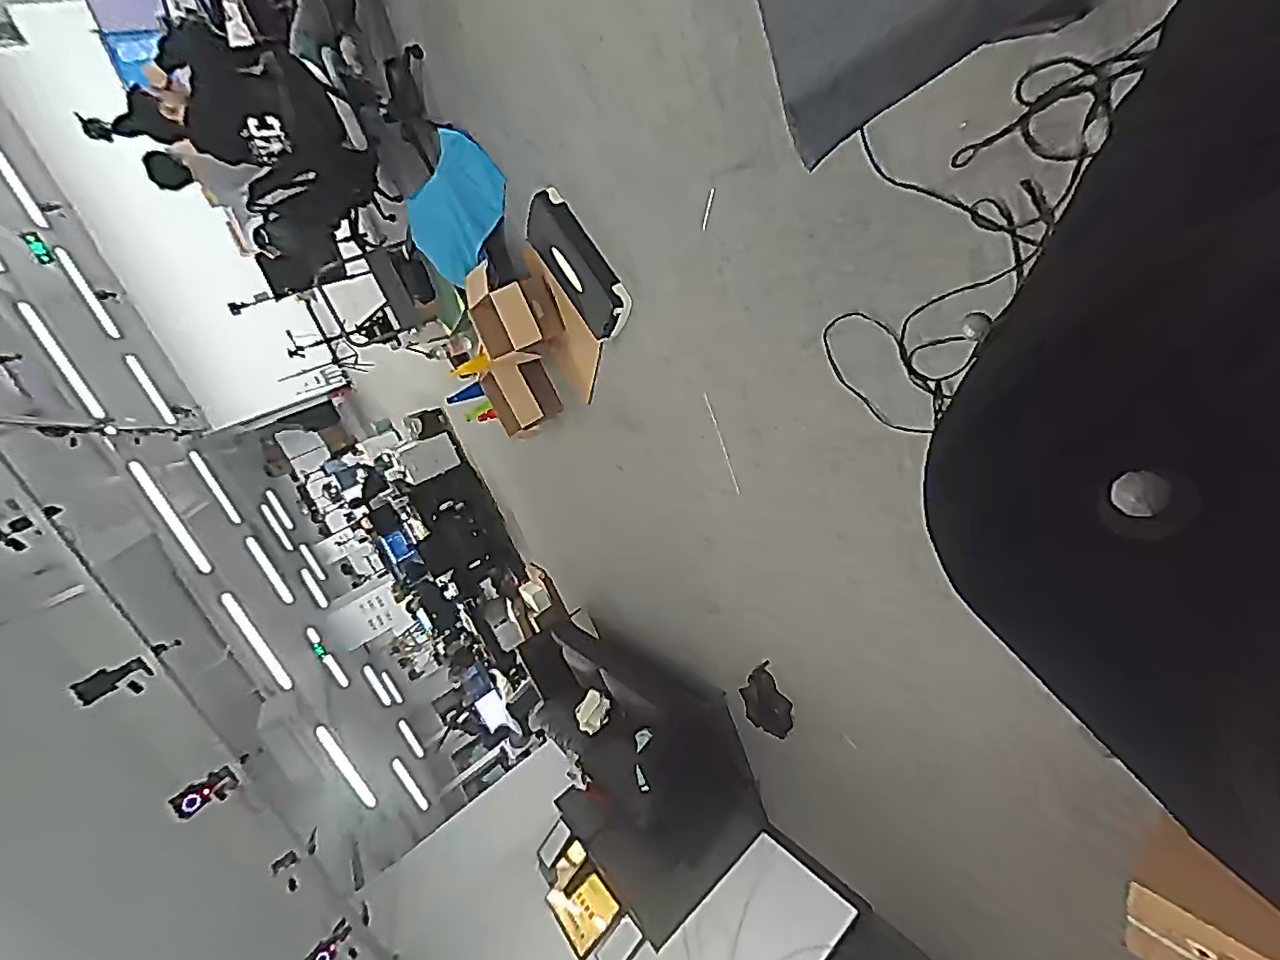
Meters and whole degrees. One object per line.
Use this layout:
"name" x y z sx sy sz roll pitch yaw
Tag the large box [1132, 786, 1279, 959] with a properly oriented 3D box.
"large box" 1.487 1.042 1.281 0.408 0.320 0.320 17 131 55
